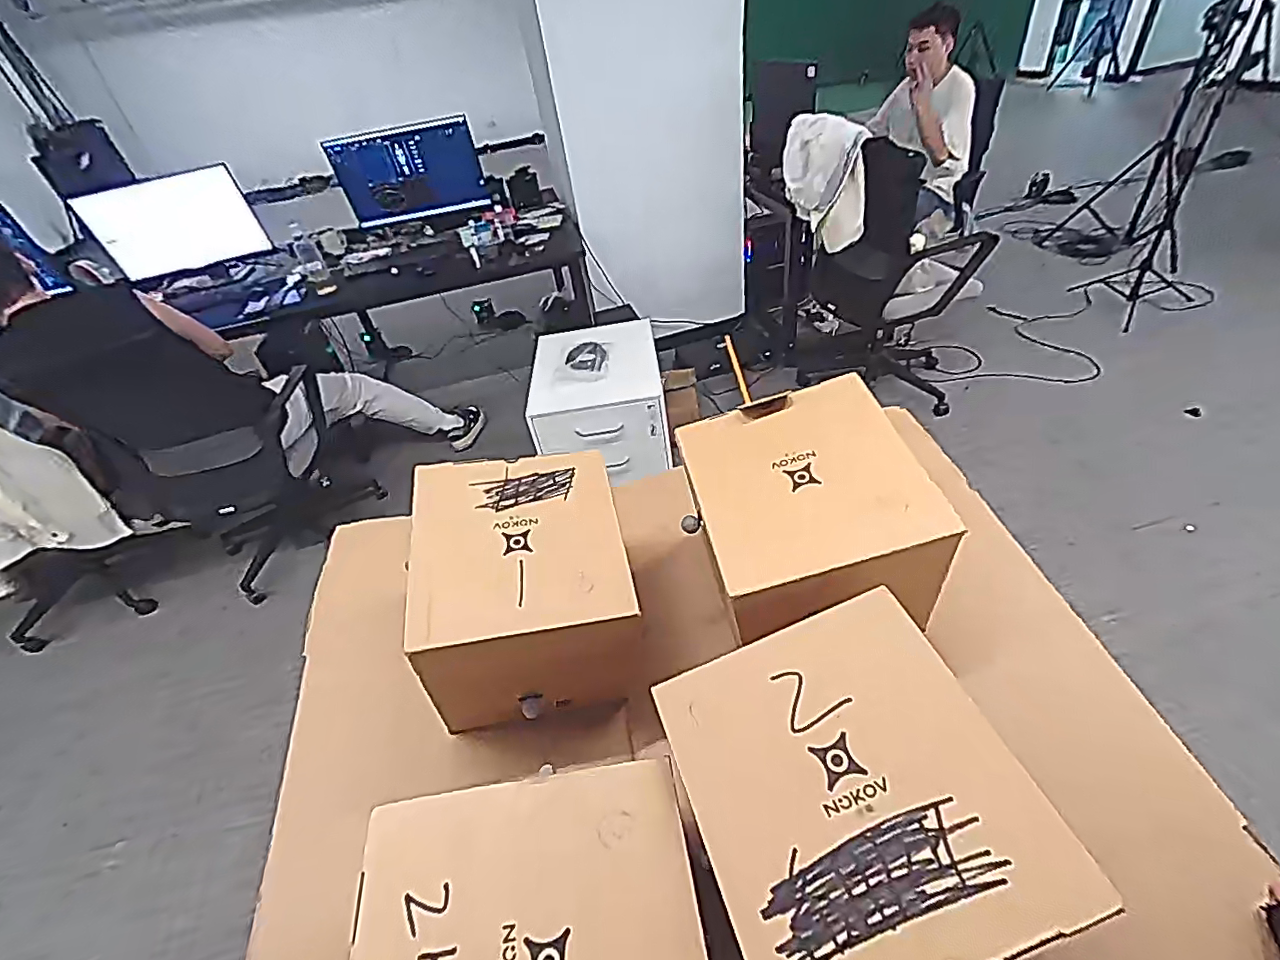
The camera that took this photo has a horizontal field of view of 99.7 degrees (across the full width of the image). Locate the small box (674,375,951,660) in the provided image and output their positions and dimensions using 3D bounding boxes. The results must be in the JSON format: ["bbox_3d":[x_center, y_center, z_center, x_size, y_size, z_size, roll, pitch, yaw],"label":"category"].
[{"bbox_3d":[0.142,0.043,0.485,0.168,0.176,0.179,-17,48,4],"label":"small box"}]
